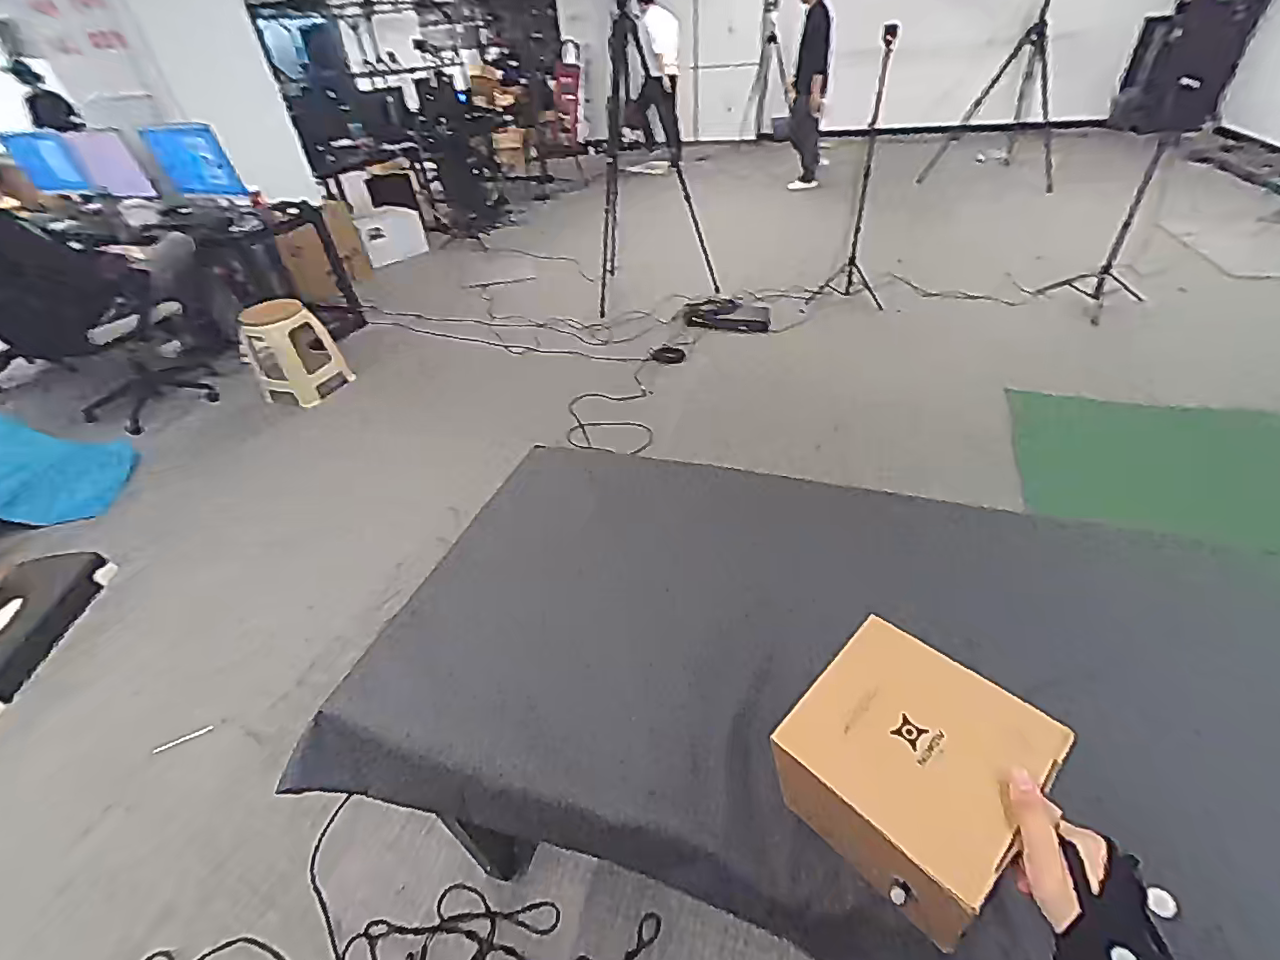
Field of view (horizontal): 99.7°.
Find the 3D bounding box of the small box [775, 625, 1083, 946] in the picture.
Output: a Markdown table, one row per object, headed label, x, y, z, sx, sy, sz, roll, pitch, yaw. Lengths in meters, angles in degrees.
| label | x | y | z | sx | sy | sz | roll | pitch | yaw |
| --- | --- | --- | --- | --- | --- | --- | --- | --- | --- |
| small box | 0.251 | 0.277 | 0.496 | 0.168 | 0.176 | 0.179 | -39 | 43 | -22 |
